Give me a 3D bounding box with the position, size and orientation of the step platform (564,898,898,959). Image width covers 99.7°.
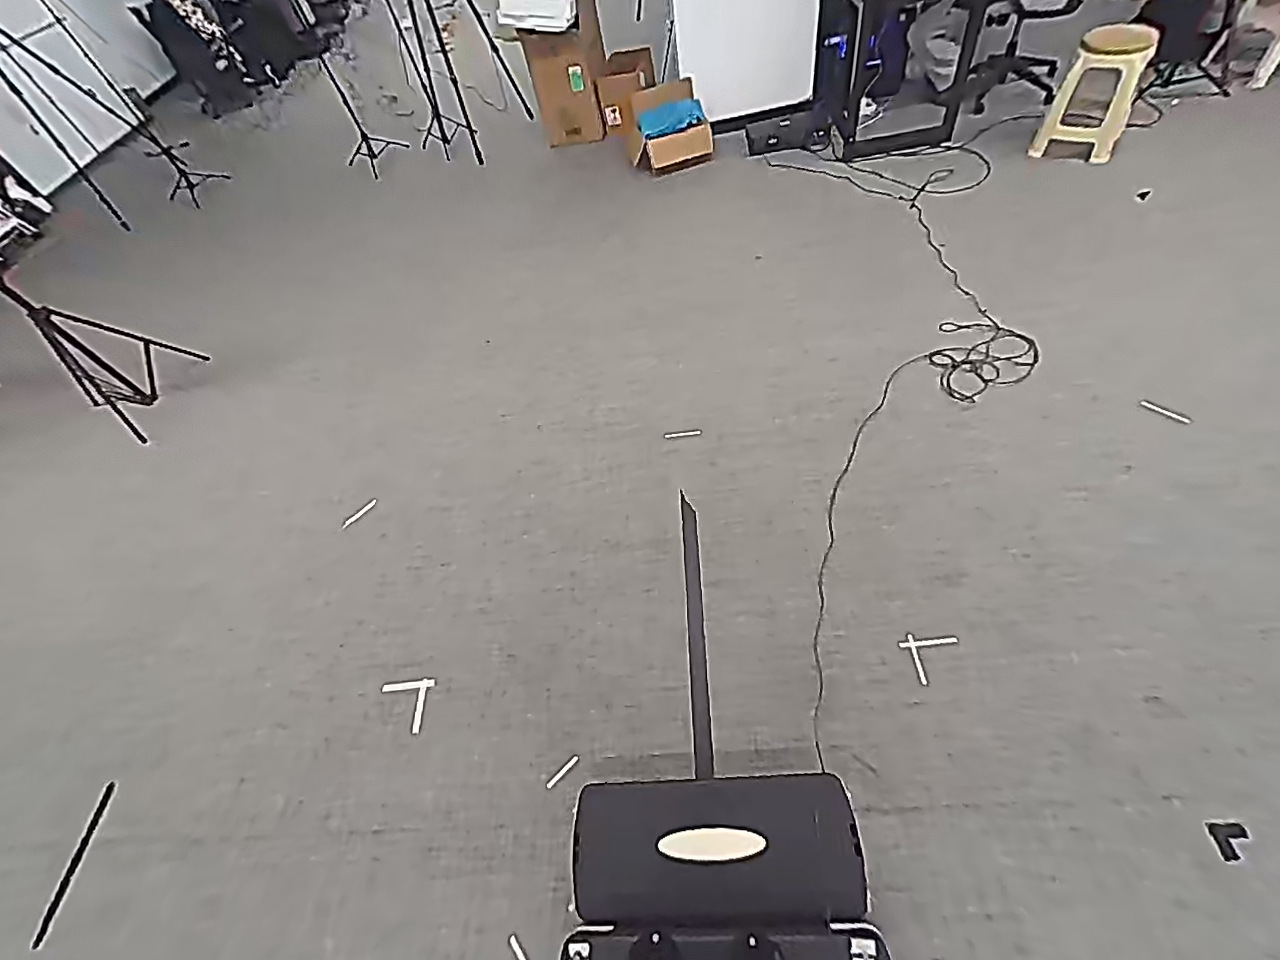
[{"bbox_3d":[0.182,1.041,1.098,0.684,0.204,0.286,-8,53,8],"label":"step platform"}]
